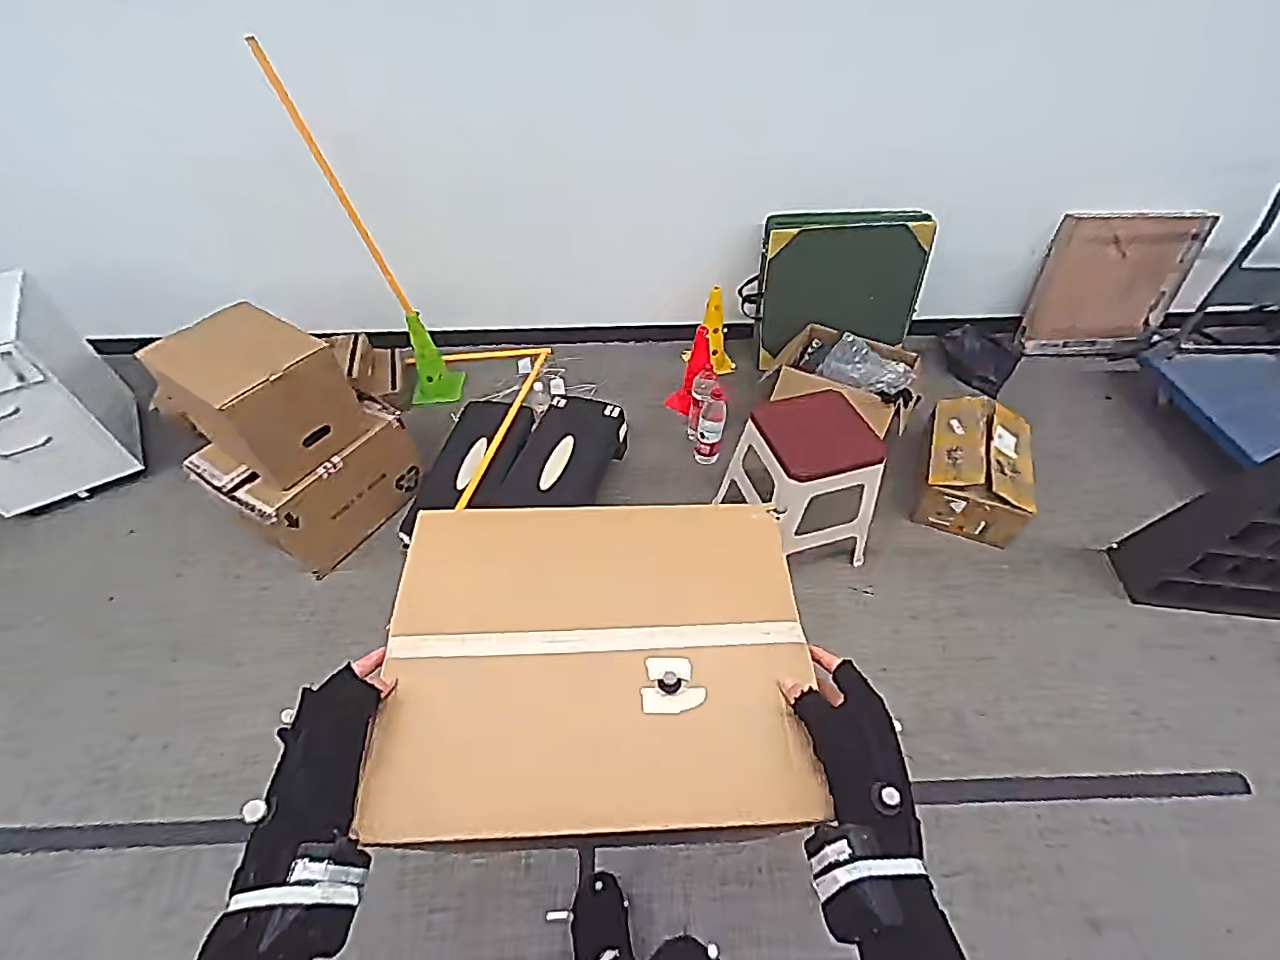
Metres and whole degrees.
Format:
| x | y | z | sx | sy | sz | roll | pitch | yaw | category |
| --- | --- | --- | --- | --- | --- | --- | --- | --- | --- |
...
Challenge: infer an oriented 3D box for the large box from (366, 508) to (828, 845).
| x | y | z | sx | sy | sz | roll | pitch | yaw | category |
| --- | --- | --- | --- | --- | --- | --- | --- | --- | --- |
| -0.045 | 0.247 | 0.665 | 0.408 | 0.320 | 0.320 | 0 | 54 | -2 | large box |
